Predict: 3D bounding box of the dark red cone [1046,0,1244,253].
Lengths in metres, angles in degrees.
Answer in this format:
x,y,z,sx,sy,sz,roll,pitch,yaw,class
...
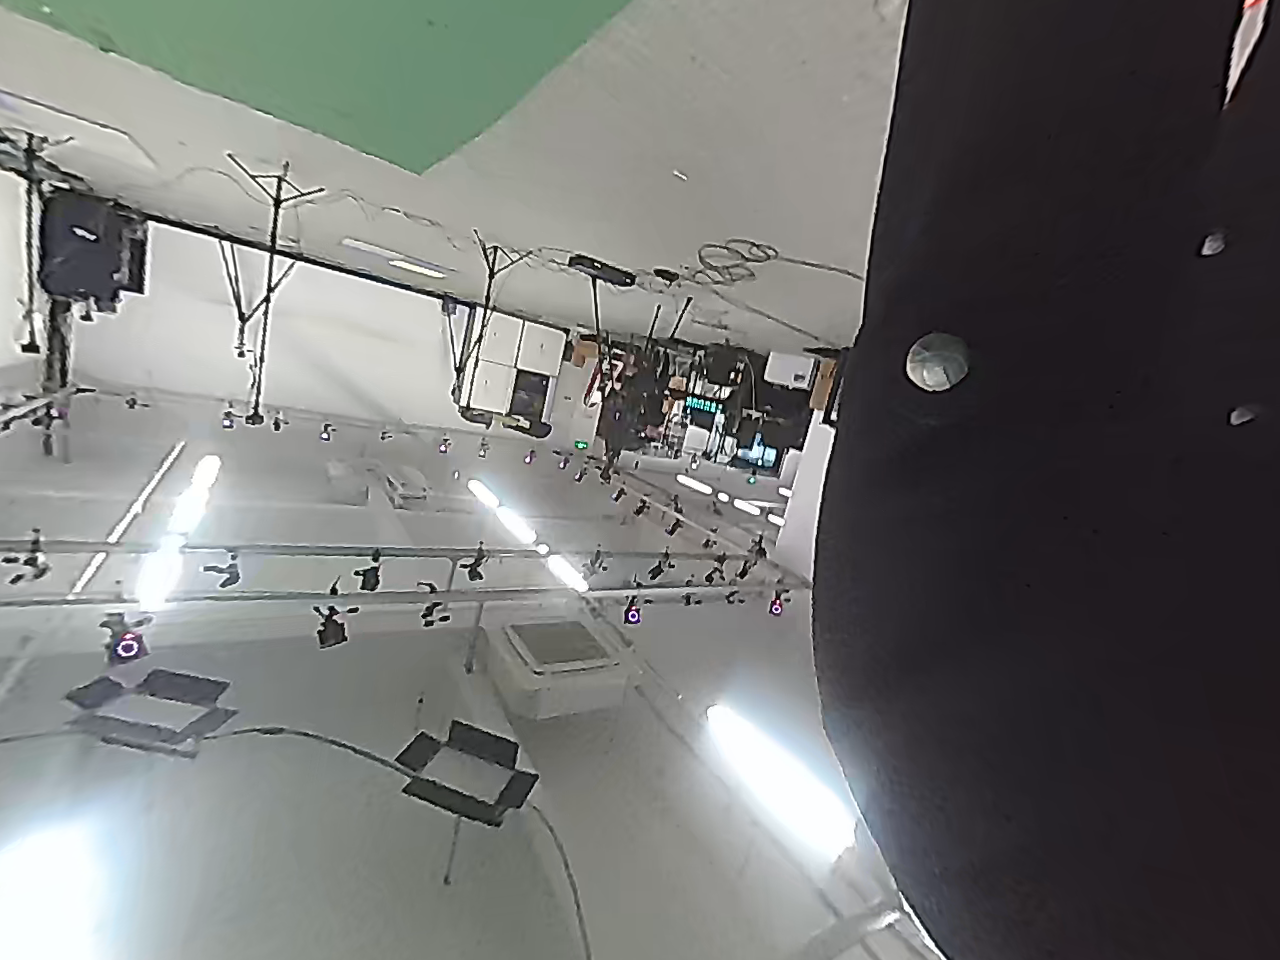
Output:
x,y,z,sx,sy,sz,roll,pitch,yaw,class
0.779,-0.582,0.902,0.201,0.394,0.202,12,-171,-28,dark red cone
